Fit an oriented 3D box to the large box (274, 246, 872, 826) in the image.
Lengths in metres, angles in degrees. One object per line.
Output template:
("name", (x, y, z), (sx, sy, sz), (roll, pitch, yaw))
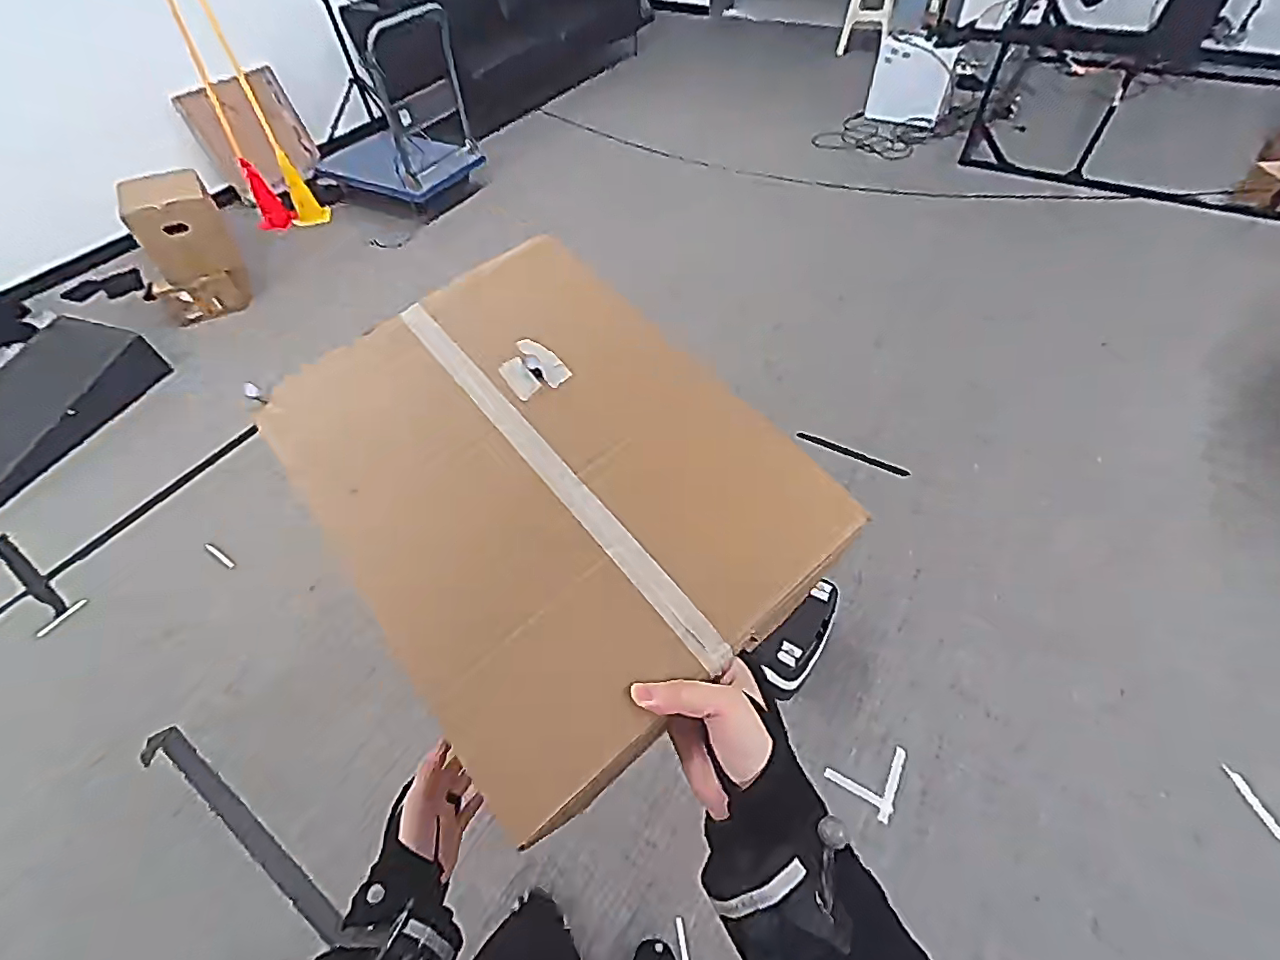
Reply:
("large box", (-0.062, 0.053, 0.556), (0.320, 0.320, 0.408), (-37, 66, -15))
